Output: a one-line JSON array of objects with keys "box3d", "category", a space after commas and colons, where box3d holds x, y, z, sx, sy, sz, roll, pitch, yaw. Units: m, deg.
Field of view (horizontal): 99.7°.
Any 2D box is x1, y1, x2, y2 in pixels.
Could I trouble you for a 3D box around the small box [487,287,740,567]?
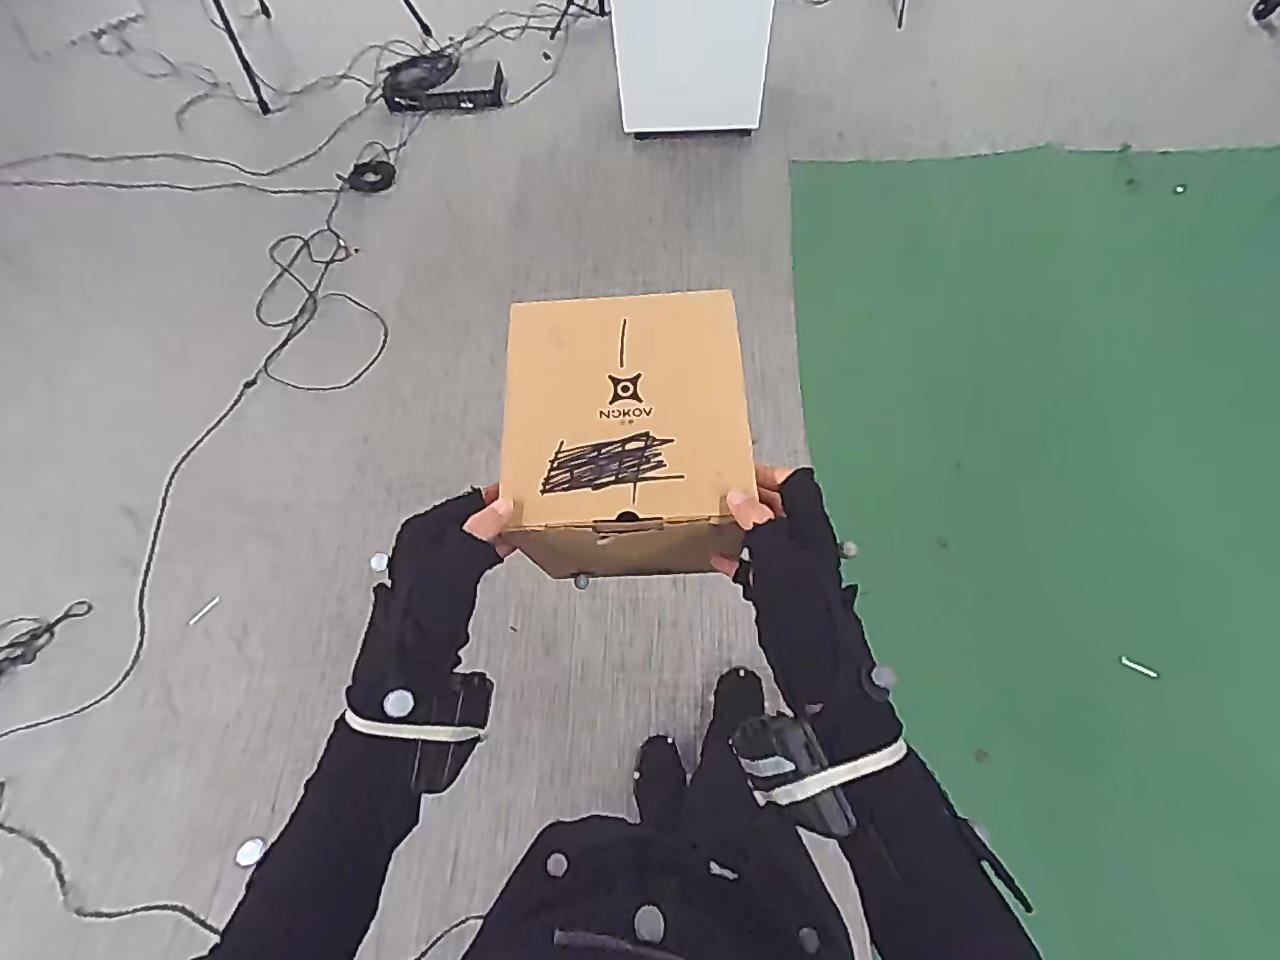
[{"box3d": [-0.013, -0.028, 0.443, 0.168, 0.176, 0.179, -3, 68, 3], "category": "small box"}]
